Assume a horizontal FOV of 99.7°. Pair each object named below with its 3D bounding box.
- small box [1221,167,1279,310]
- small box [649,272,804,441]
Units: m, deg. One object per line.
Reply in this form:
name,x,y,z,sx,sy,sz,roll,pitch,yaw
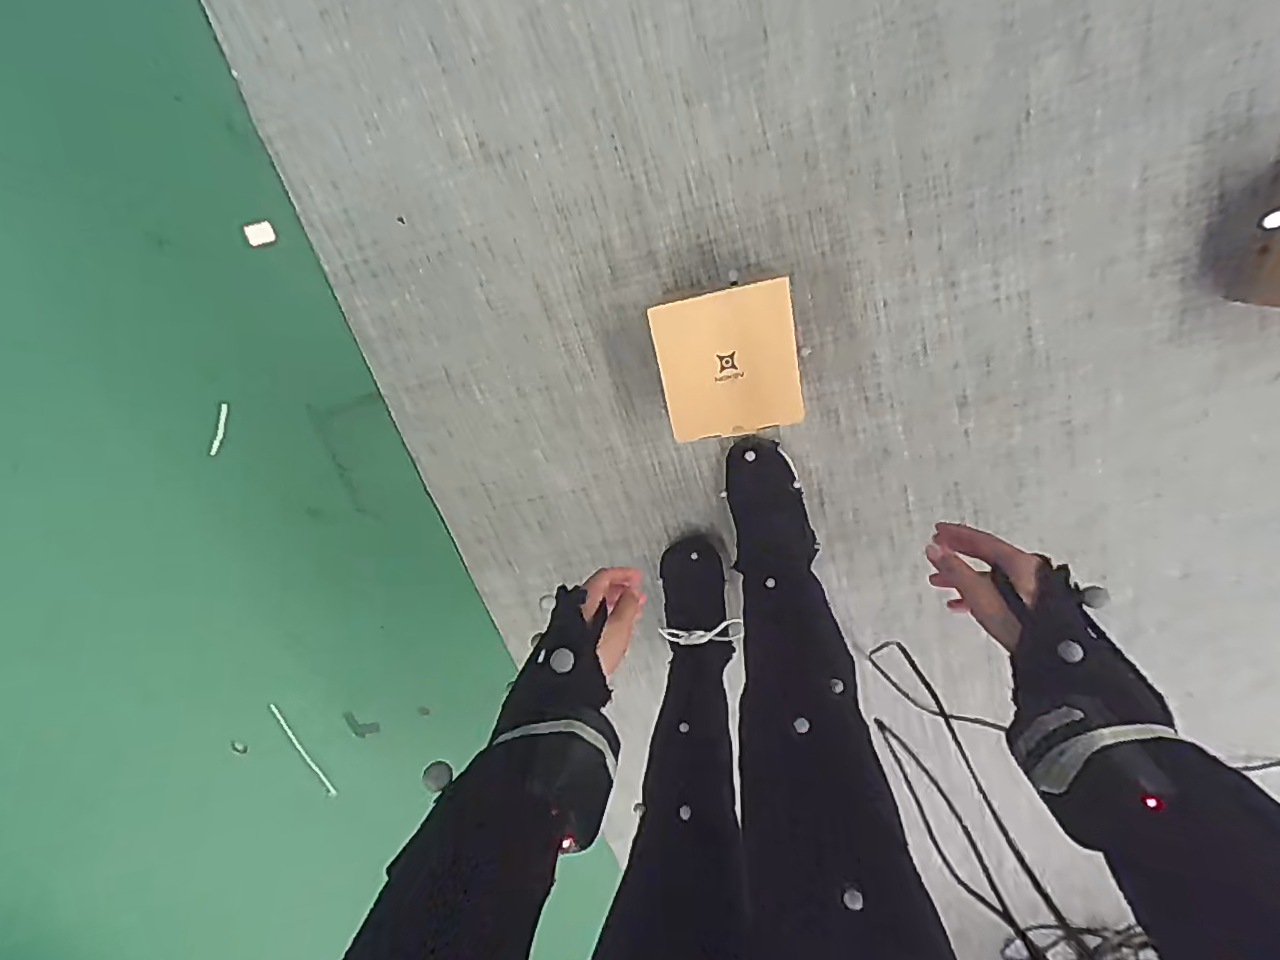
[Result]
small box,0.814,-0.266,0.578,0.179,0.176,0.168,3,113,8
small box,0.115,-0.171,0.722,0.168,0.176,0.179,-9,113,12
